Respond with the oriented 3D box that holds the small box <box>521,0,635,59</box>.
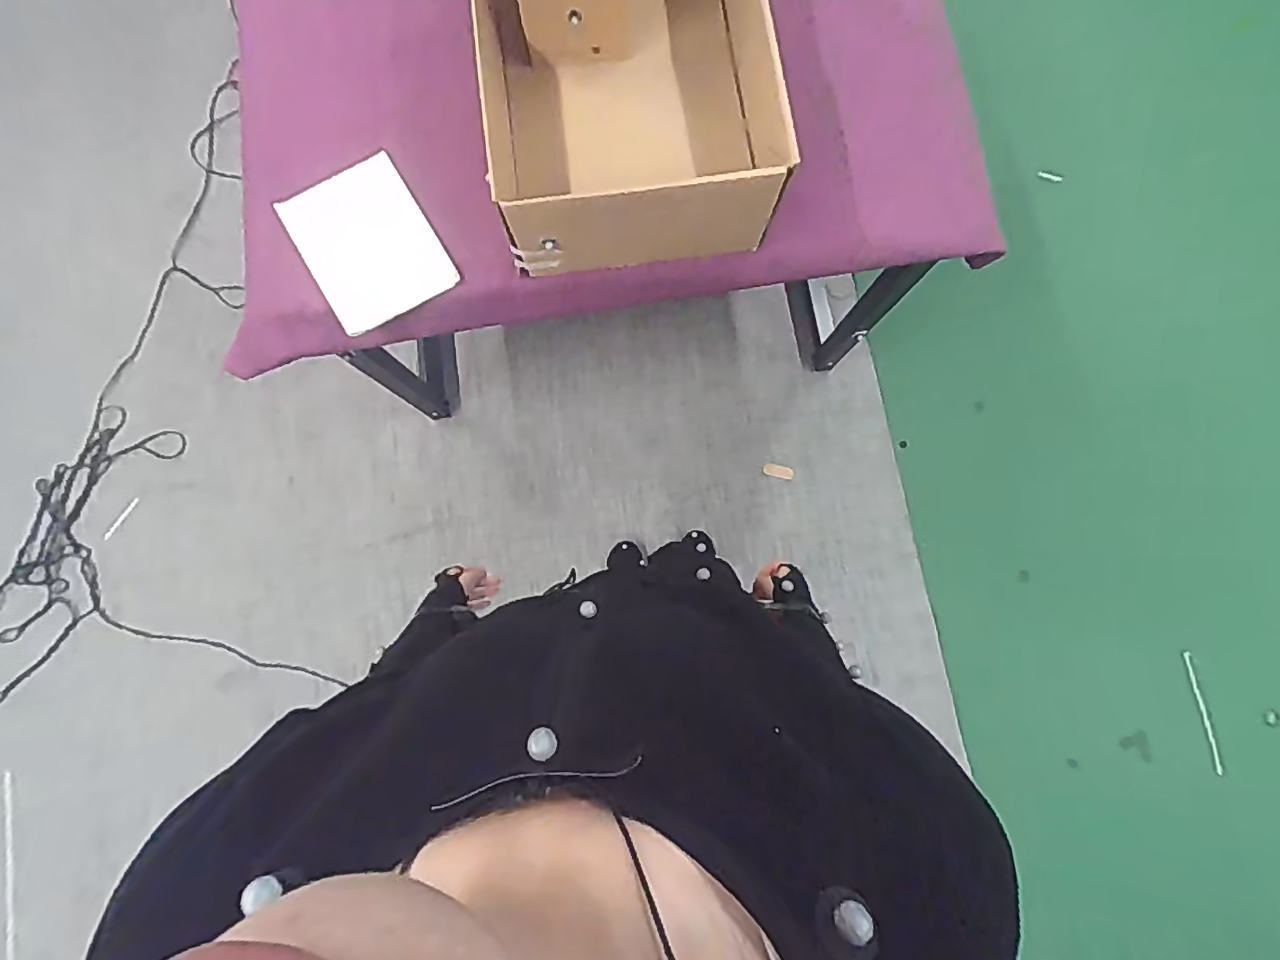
[{"bbox_3d":[-0.097,-0.764,0.797,0.168,0.176,0.179,-7,84,-1],"label":"small box"}]
